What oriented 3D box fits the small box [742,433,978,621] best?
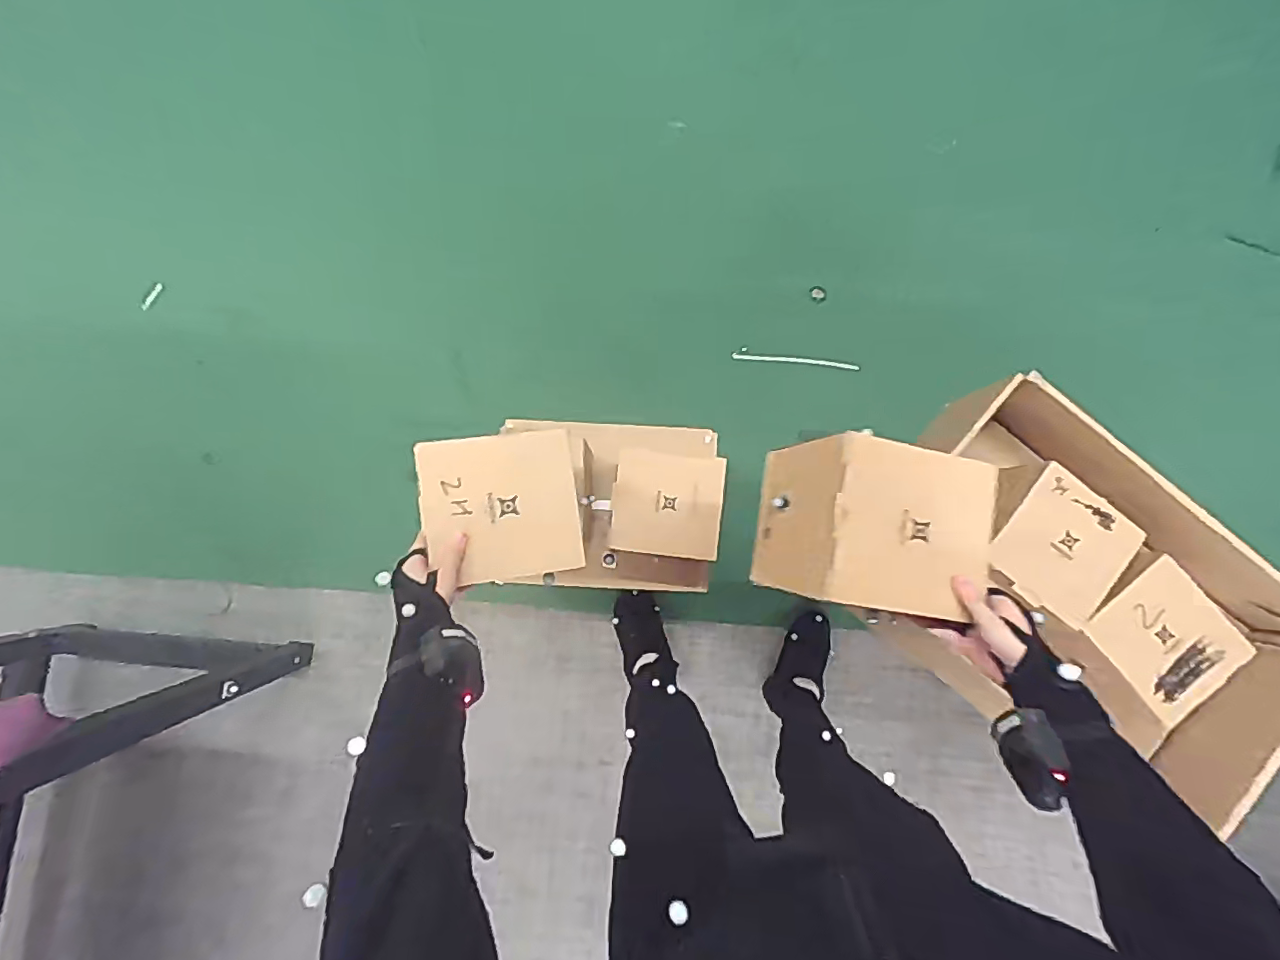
[{"bbox_3d":[0.236,0.053,0.611,0.179,0.176,0.168,10,83,-11],"label":"small box"}]

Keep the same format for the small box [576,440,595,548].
[{"bbox_3d":[-0.167,0.030,0.932,0.168,0.176,0.179,1,85,0],"label":"small box"}]

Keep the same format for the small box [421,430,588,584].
[{"bbox_3d":[-0.165,0.034,0.697,0.179,0.176,0.168,-6,86,-8],"label":"small box"}]
